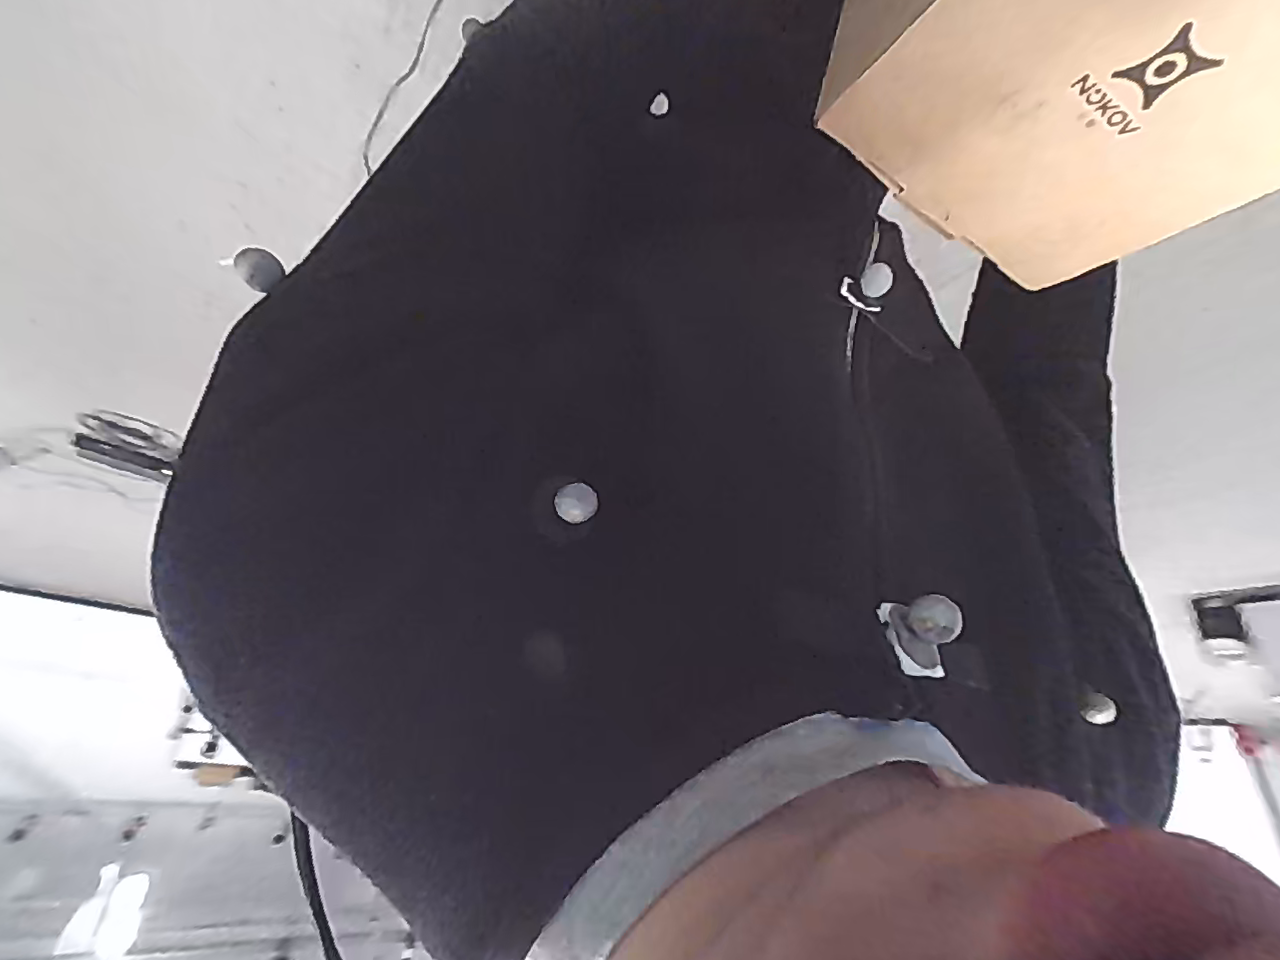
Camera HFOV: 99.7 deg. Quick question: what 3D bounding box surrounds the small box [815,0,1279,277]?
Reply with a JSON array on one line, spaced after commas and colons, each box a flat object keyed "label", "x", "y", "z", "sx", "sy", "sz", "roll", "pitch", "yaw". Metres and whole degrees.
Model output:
[{"label": "small box", "x": 0.207, "y": -0.225, "z": 0.217, "sx": 0.168, "sy": 0.176, "sz": 0.179, "roll": 22, "pitch": 166, "yaw": -19}]
